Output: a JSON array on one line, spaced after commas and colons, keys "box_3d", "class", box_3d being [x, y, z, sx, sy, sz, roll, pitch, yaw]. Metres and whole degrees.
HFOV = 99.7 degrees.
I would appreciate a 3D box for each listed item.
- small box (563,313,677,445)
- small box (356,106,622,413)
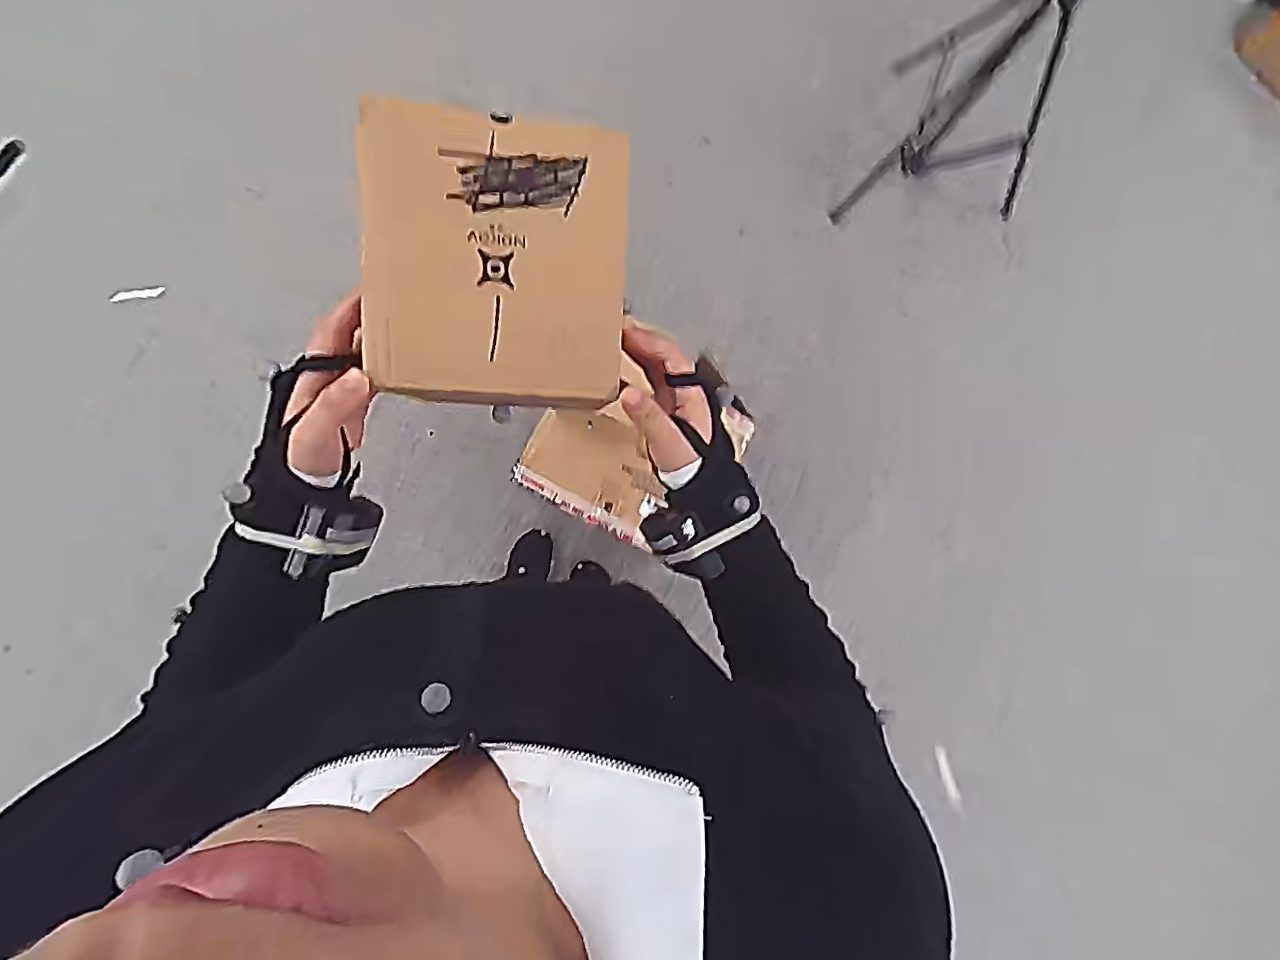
[{"box_3d": [-0.049, -0.183, 0.983, 0.168, 0.176, 0.179, 25, 84, 1], "class": "small box"}, {"box_3d": [-0.108, -0.147, 0.426, 0.168, 0.176, 0.179, 1, 95, -9], "class": "small box"}]
